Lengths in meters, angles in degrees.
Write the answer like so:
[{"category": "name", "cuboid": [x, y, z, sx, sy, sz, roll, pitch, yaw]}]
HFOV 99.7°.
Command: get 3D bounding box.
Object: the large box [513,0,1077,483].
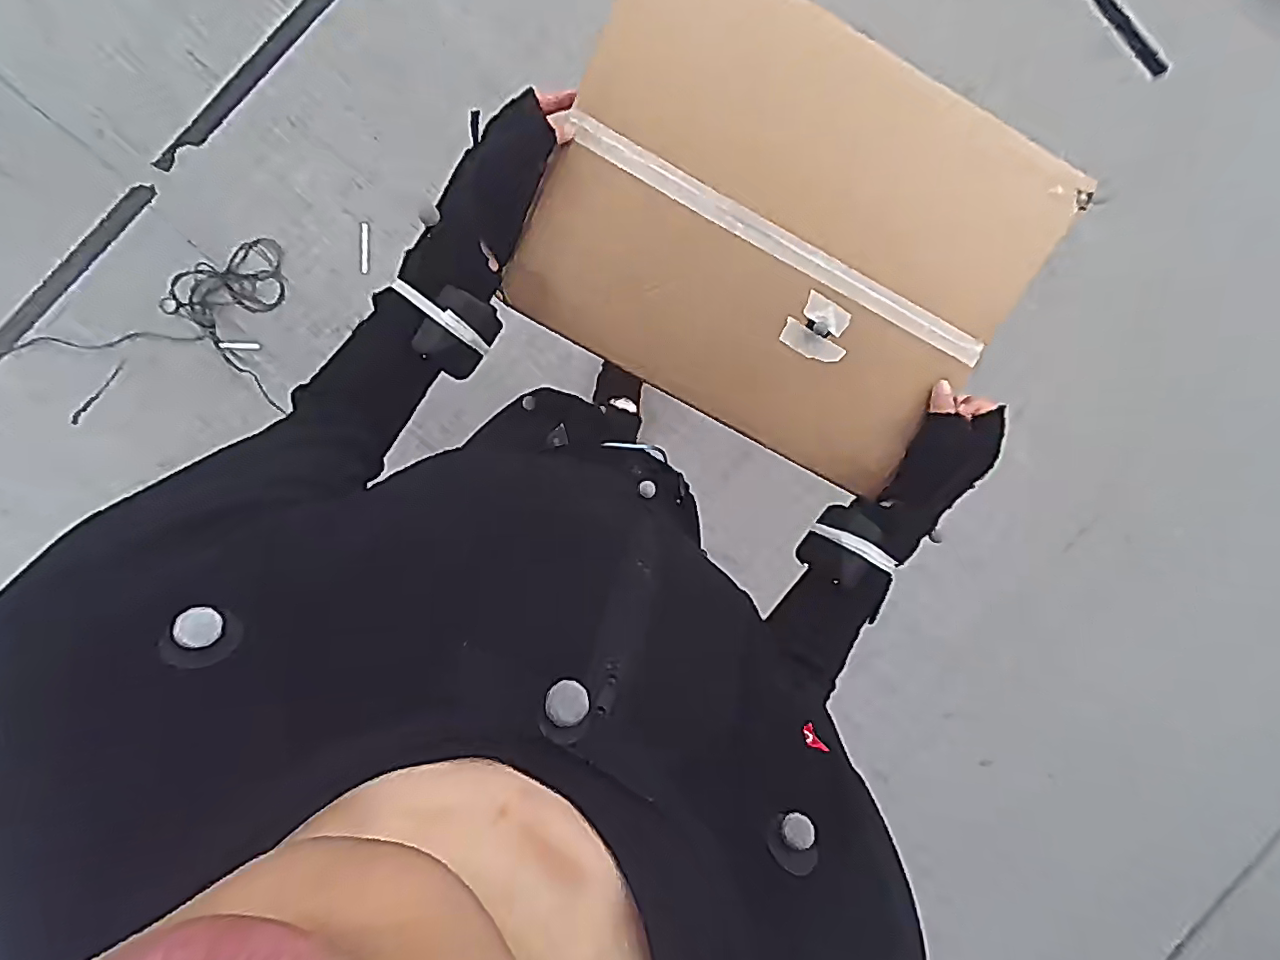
[{"category": "large box", "cuboid": [0.129, -0.251, 0.617, 0.408, 0.320, 0.320, 28, 106, -6]}]
